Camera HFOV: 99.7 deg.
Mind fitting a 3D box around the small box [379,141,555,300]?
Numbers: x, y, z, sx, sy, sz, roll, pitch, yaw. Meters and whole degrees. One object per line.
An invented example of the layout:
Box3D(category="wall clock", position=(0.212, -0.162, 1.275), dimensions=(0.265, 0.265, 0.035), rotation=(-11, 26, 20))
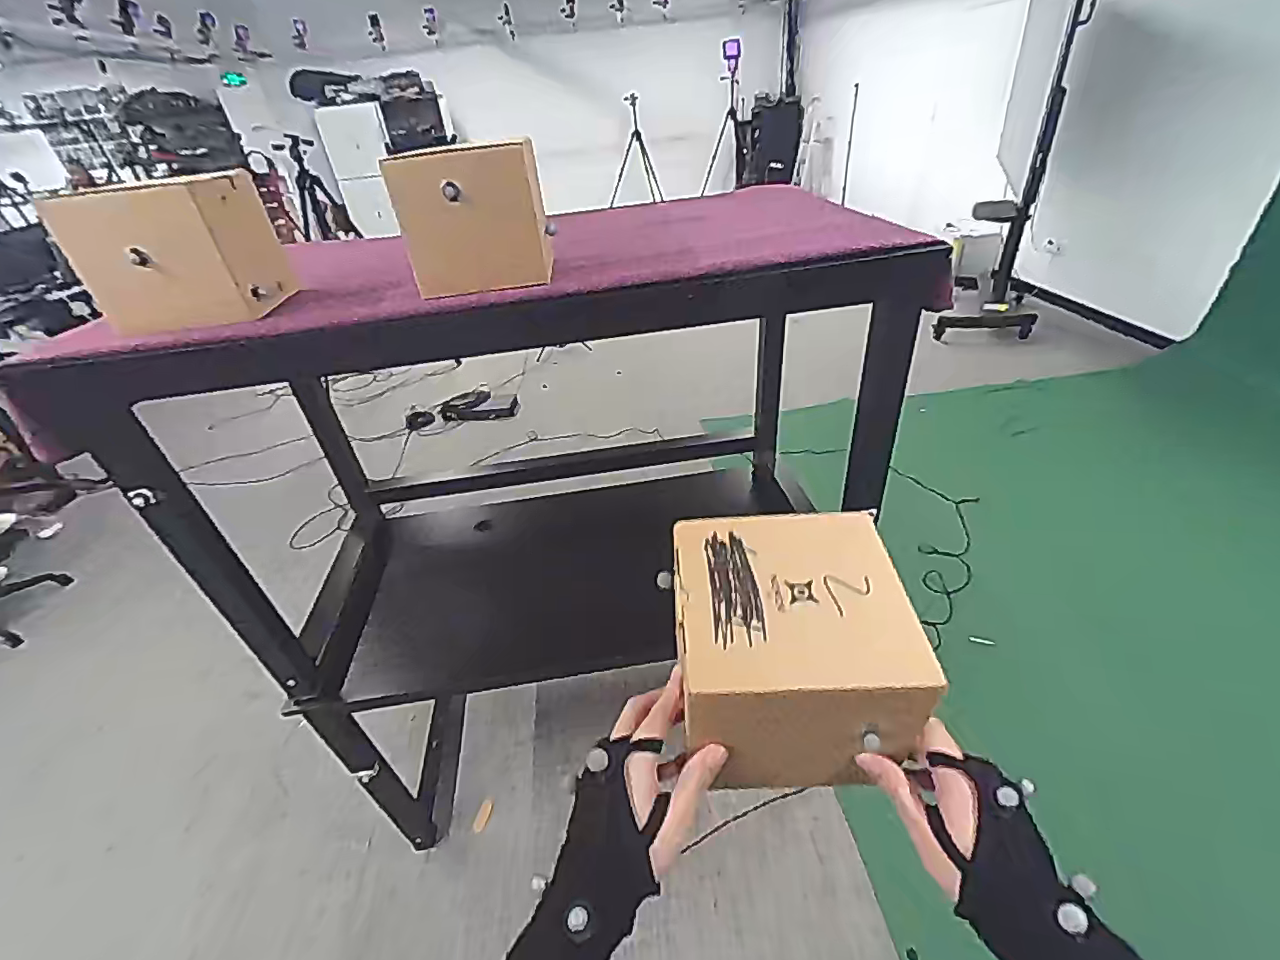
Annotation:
Box3D(category="small box", position=(-0.226, -0.362, 0.757), dimensions=(0.179, 0.176, 0.168), rotation=(-8, 35, -1))

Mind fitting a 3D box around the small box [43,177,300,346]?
Box3D(category="small box", position=(-0.613, -0.301, 0.743), dimensions=(0.179, 0.176, 0.168), rotation=(-10, 35, -3))
